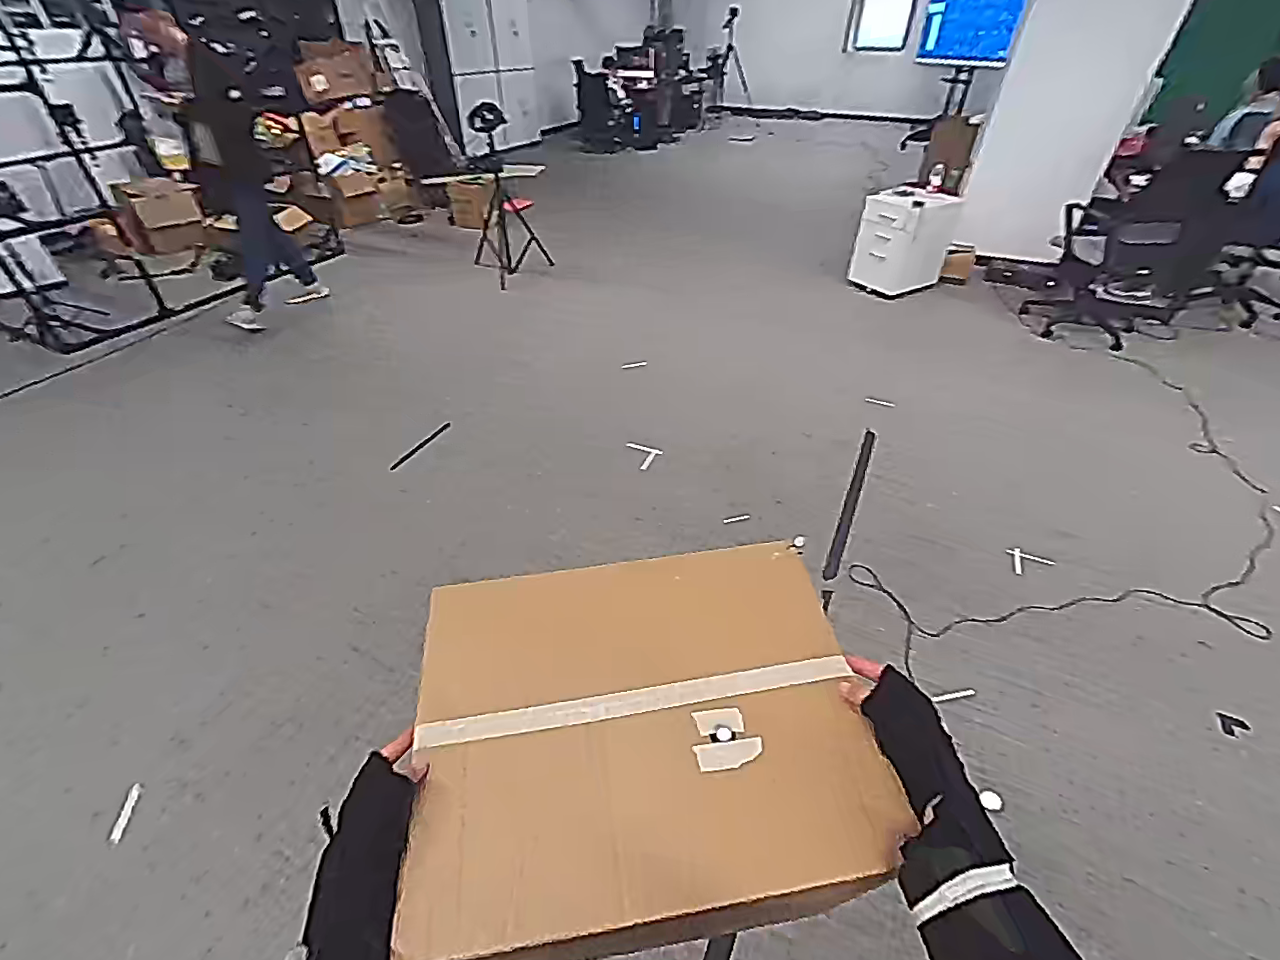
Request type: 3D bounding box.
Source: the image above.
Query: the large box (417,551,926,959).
[{"bbox_3d":[0.011,0.316,0.614,0.408,0.320,0.320,-6,48,-5],"label":"large box"}]
